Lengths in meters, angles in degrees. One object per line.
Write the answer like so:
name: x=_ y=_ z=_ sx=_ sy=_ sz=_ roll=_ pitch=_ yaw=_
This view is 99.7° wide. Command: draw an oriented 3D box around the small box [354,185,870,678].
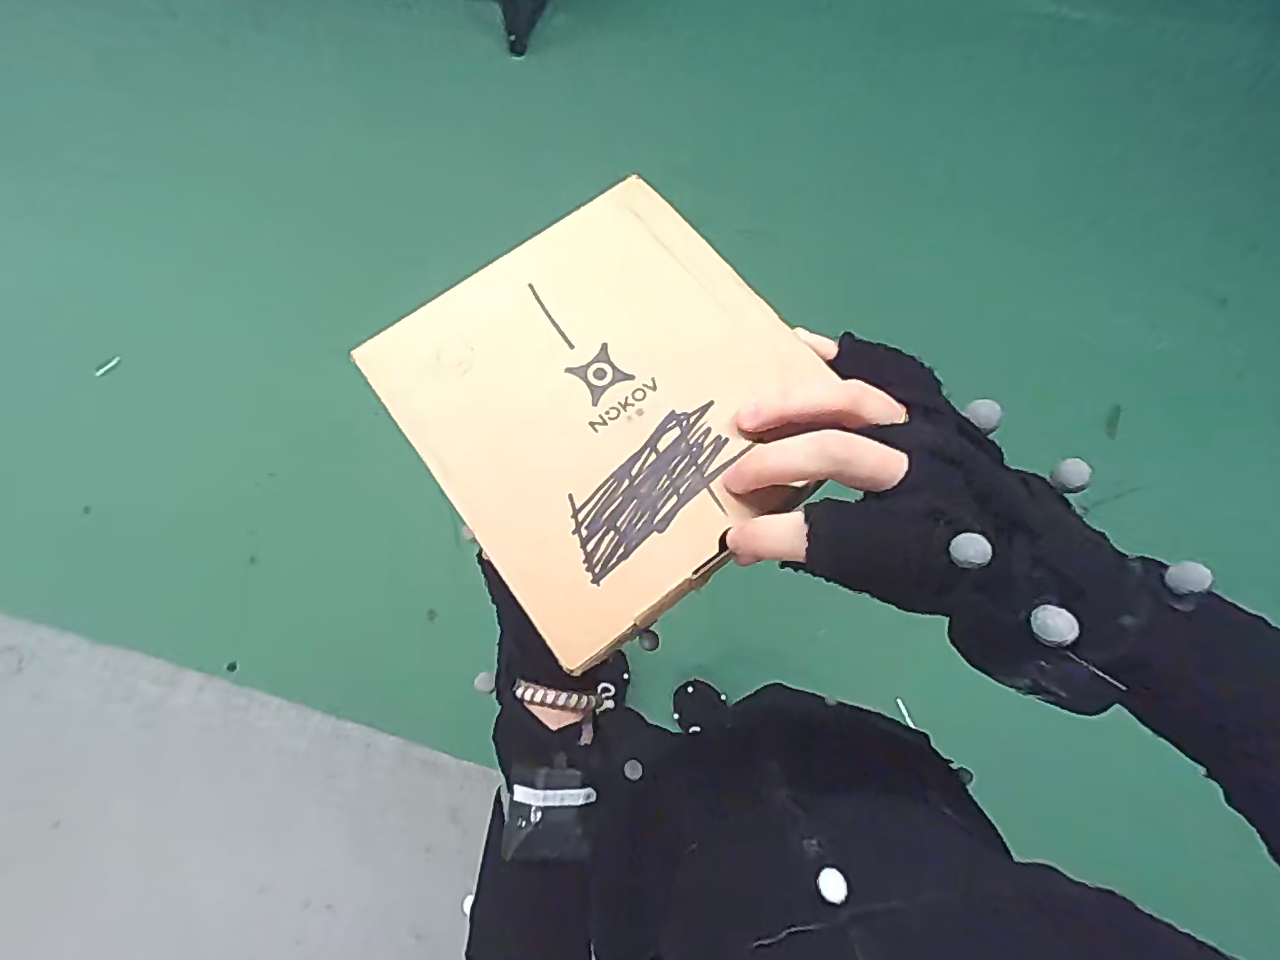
small box: x=-0.013 y=-0.014 z=0.315 sx=0.168 sy=0.176 sz=0.179 roll=-37 pitch=76 yaw=-9
